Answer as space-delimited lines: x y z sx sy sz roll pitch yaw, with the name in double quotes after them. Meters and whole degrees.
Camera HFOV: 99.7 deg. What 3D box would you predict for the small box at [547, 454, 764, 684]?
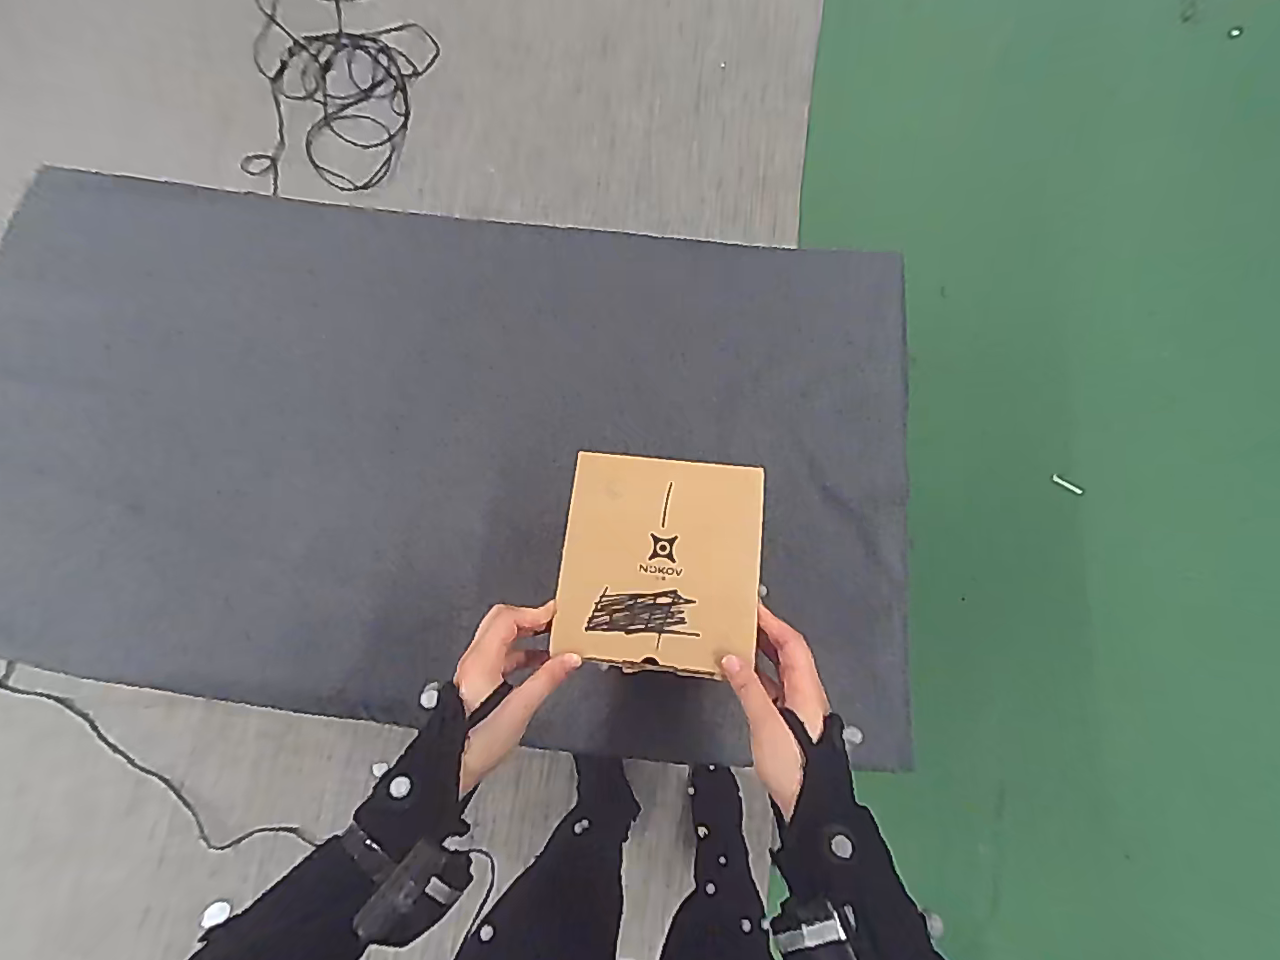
0.020 0.089 0.522 0.168 0.176 0.179 6 73 4 "small box"
